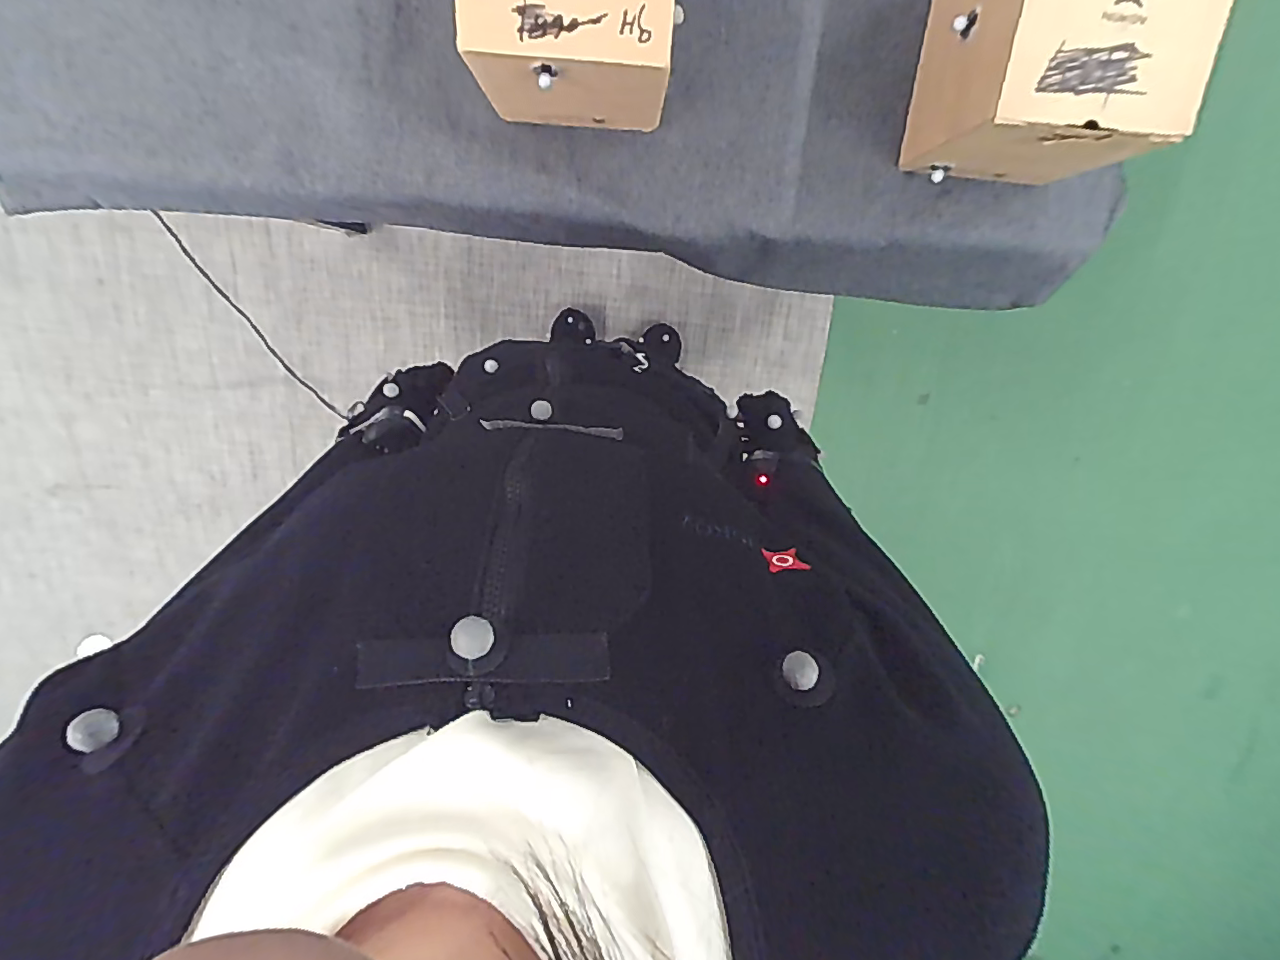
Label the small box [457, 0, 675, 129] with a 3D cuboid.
[{"bbox_3d":[-0.055,-0.436,0.468,0.168,0.176,0.179,3,107,-3],"label":"small box"}]

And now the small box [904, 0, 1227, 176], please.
[{"bbox_3d":[0.370,-0.396,0.493,0.168,0.176,0.179,4,107,-3],"label":"small box"}]
